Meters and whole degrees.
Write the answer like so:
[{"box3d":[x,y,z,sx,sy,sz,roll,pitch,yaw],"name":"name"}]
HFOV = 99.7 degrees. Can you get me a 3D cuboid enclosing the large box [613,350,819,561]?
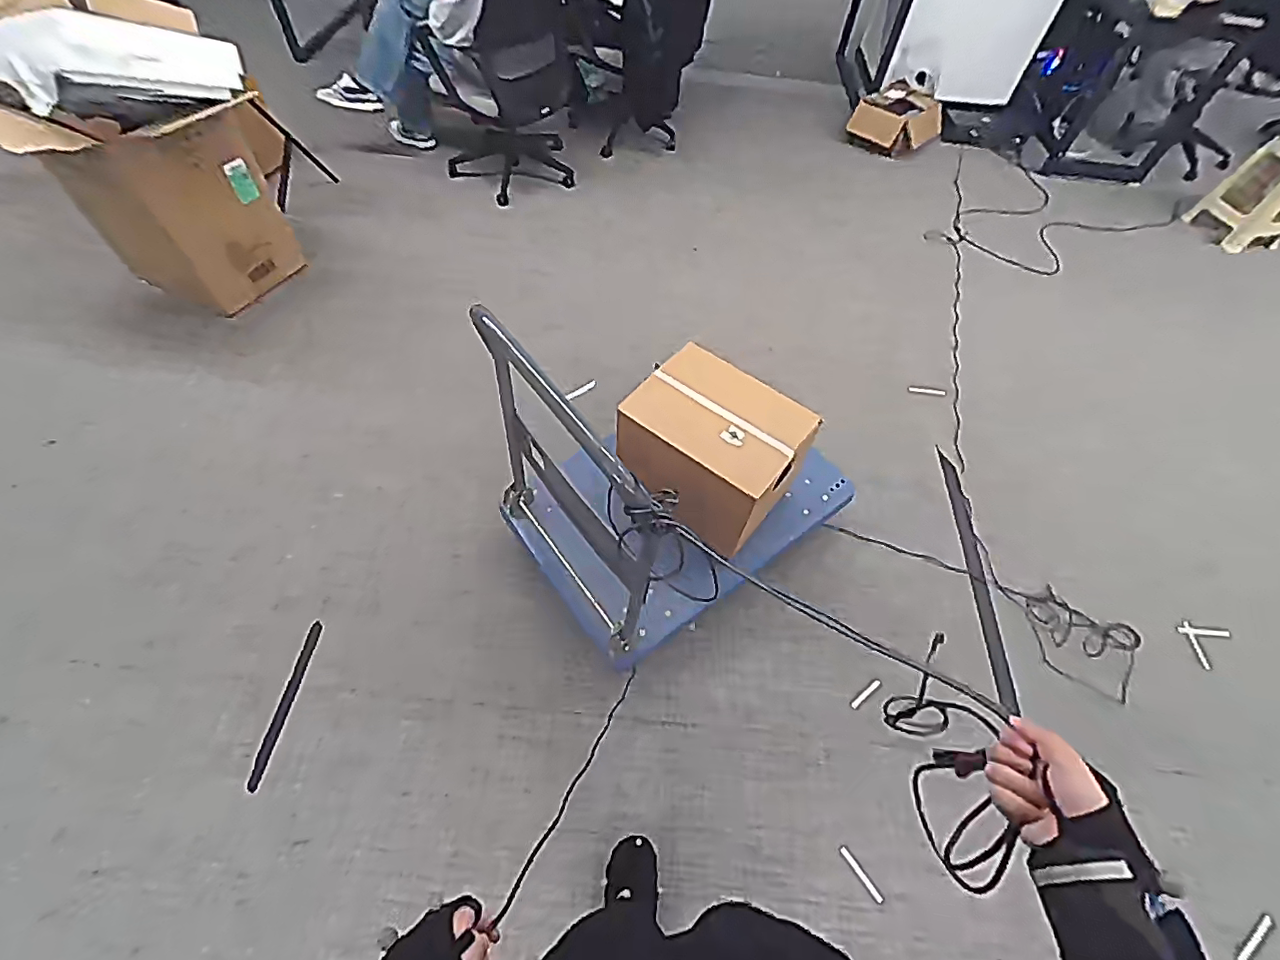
[{"box3d":[0.178,-0.064,1.426,0.408,0.320,0.320,35,61,17],"name":"large box"}]
